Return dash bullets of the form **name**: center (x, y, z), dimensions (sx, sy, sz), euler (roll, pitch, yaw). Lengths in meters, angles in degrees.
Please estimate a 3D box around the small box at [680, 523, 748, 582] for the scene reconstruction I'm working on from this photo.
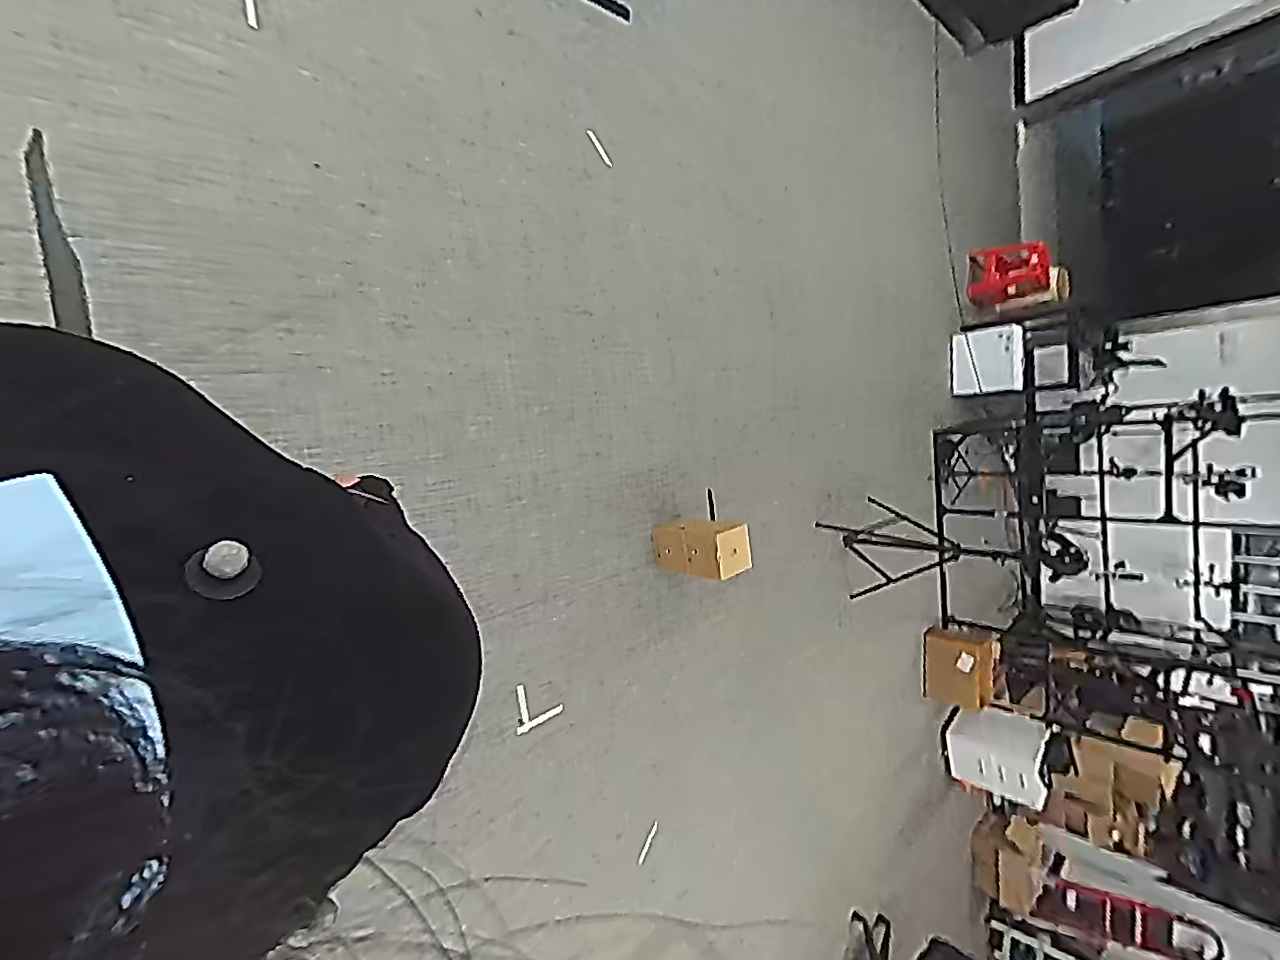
- **small box**: center (0.269, 0.258, 1.973), dimensions (0.179, 0.176, 0.168), euler (-15, 100, -40)

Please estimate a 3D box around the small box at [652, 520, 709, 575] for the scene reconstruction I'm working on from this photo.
- **small box**: center (0.160, 0.257, 2.094), dimensions (0.179, 0.176, 0.168), euler (-16, 102, -41)
